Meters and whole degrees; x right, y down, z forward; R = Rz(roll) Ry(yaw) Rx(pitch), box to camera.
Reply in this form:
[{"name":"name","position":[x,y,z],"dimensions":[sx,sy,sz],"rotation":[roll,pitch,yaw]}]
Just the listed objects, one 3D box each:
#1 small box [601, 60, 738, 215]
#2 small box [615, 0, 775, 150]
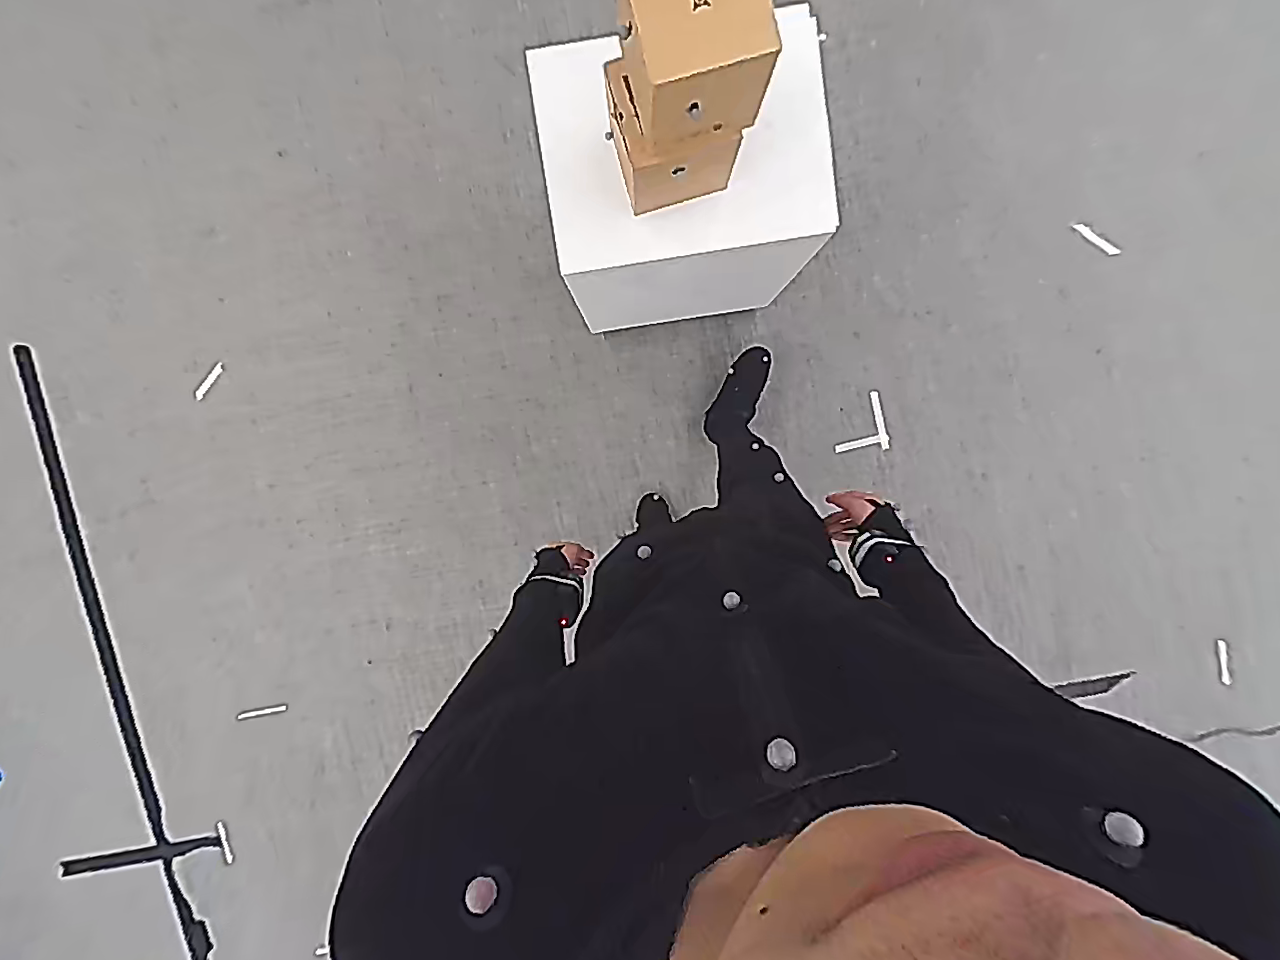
[{"name":"small box","position":[0.046,-0.569,0.893],"dimensions":[0.179,0.176,0.168],"rotation":[-16,94,1]},{"name":"small box","position":[0.067,-0.580,0.729],"dimensions":[0.168,0.176,0.179],"rotation":[-15,93,1]}]
